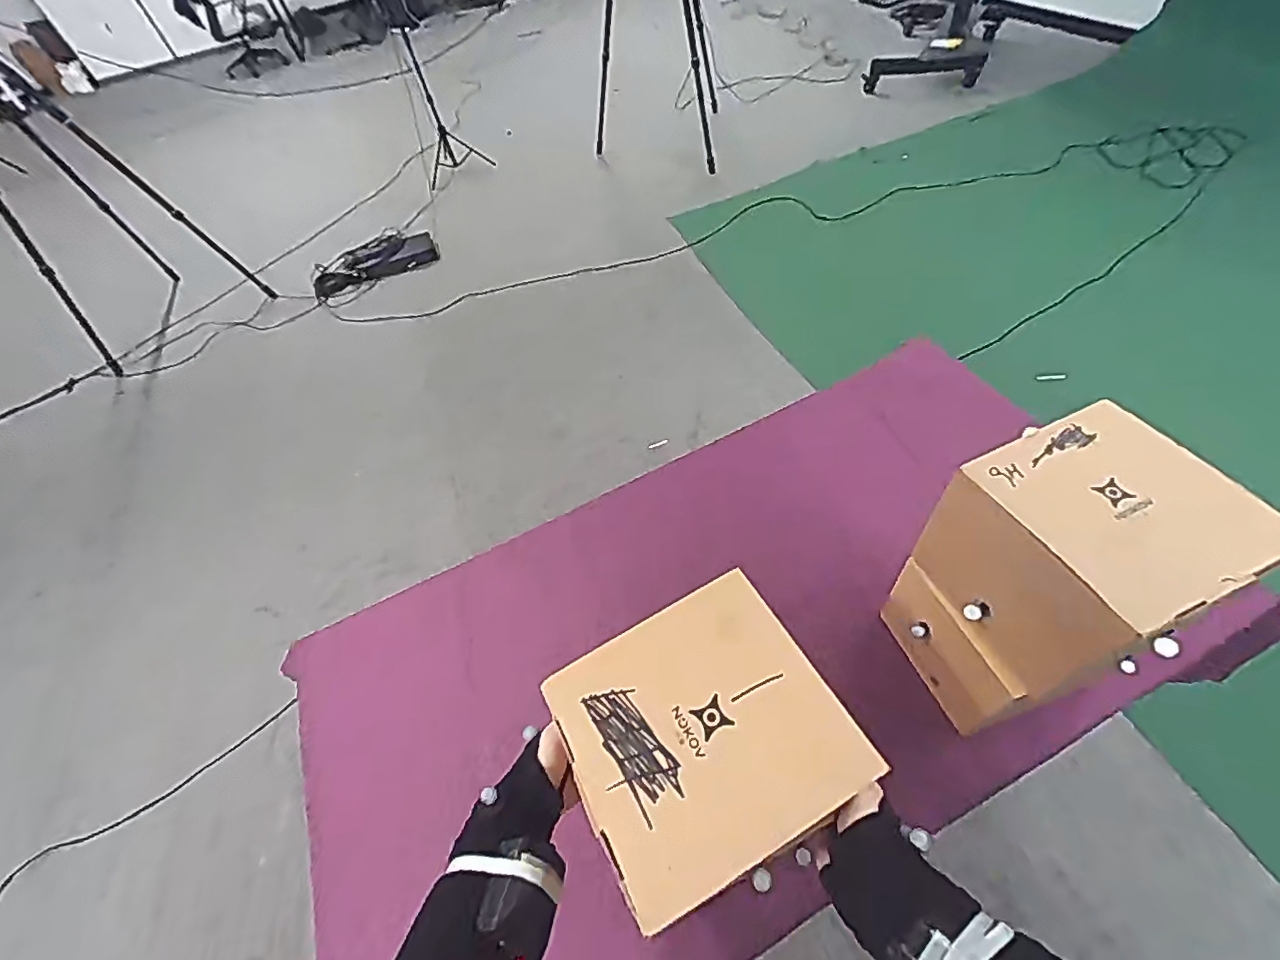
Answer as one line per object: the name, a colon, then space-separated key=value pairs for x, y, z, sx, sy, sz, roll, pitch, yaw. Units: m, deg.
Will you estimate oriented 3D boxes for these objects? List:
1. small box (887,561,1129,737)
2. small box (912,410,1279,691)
small box: x=0.412 y=0.173 z=0.627 sx=0.179 sy=0.176 sz=0.168 roll=-20 pitch=52 yaw=-5
small box: x=0.391 y=0.074 z=0.498 sx=0.168 sy=0.176 sz=0.179 roll=-23 pitch=53 yaw=-8
